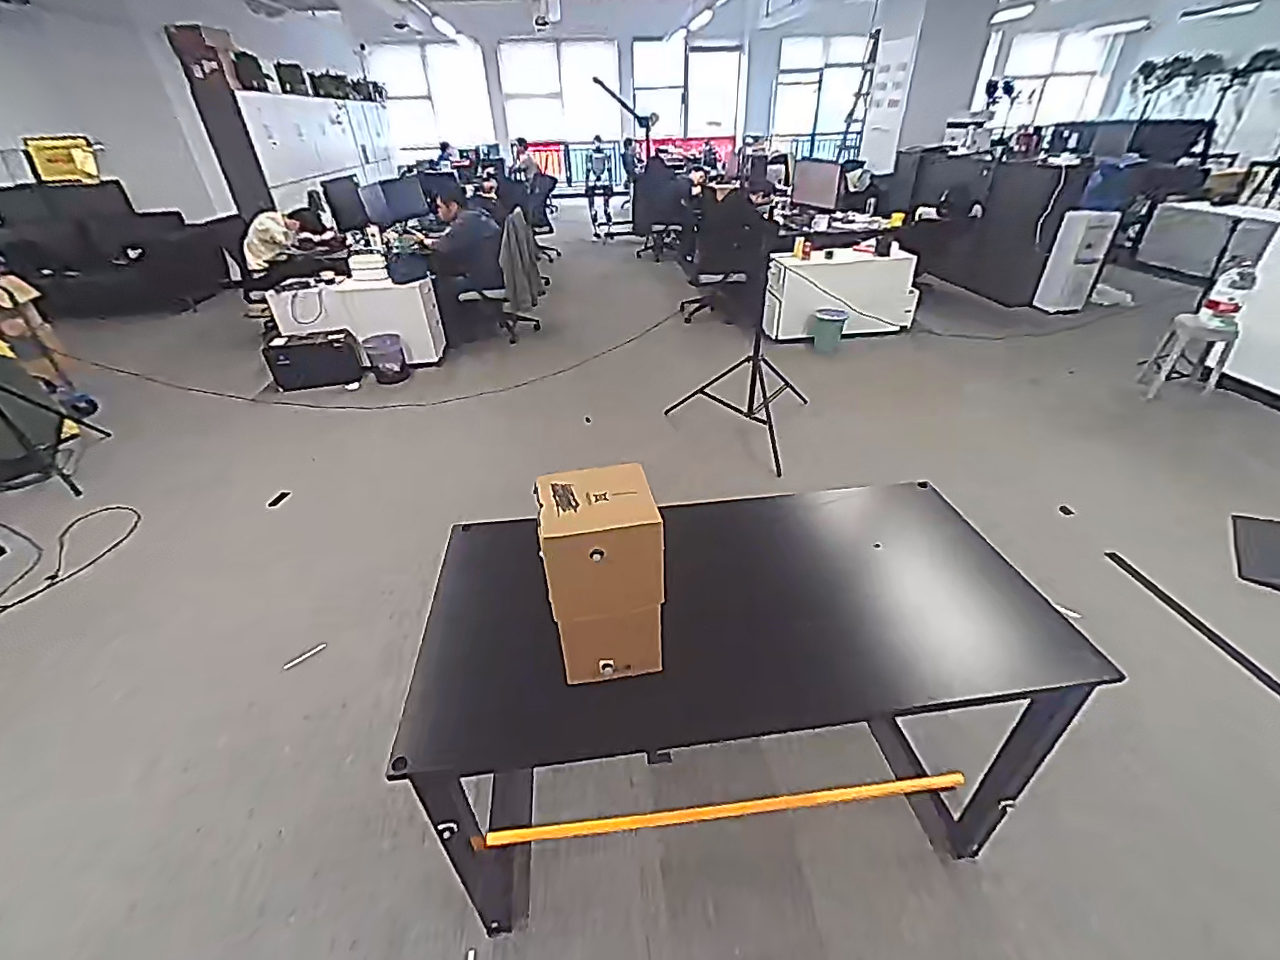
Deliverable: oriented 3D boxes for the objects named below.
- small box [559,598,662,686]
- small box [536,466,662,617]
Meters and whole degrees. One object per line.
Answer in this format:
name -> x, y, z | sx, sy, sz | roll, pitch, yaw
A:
small box -> -0.058, 0.233, 0.963 | 0.168, 0.176, 0.179 | -8, 35, -7
small box -> -0.065, 0.098, 0.869 | 0.179, 0.176, 0.168 | -8, 34, -8
